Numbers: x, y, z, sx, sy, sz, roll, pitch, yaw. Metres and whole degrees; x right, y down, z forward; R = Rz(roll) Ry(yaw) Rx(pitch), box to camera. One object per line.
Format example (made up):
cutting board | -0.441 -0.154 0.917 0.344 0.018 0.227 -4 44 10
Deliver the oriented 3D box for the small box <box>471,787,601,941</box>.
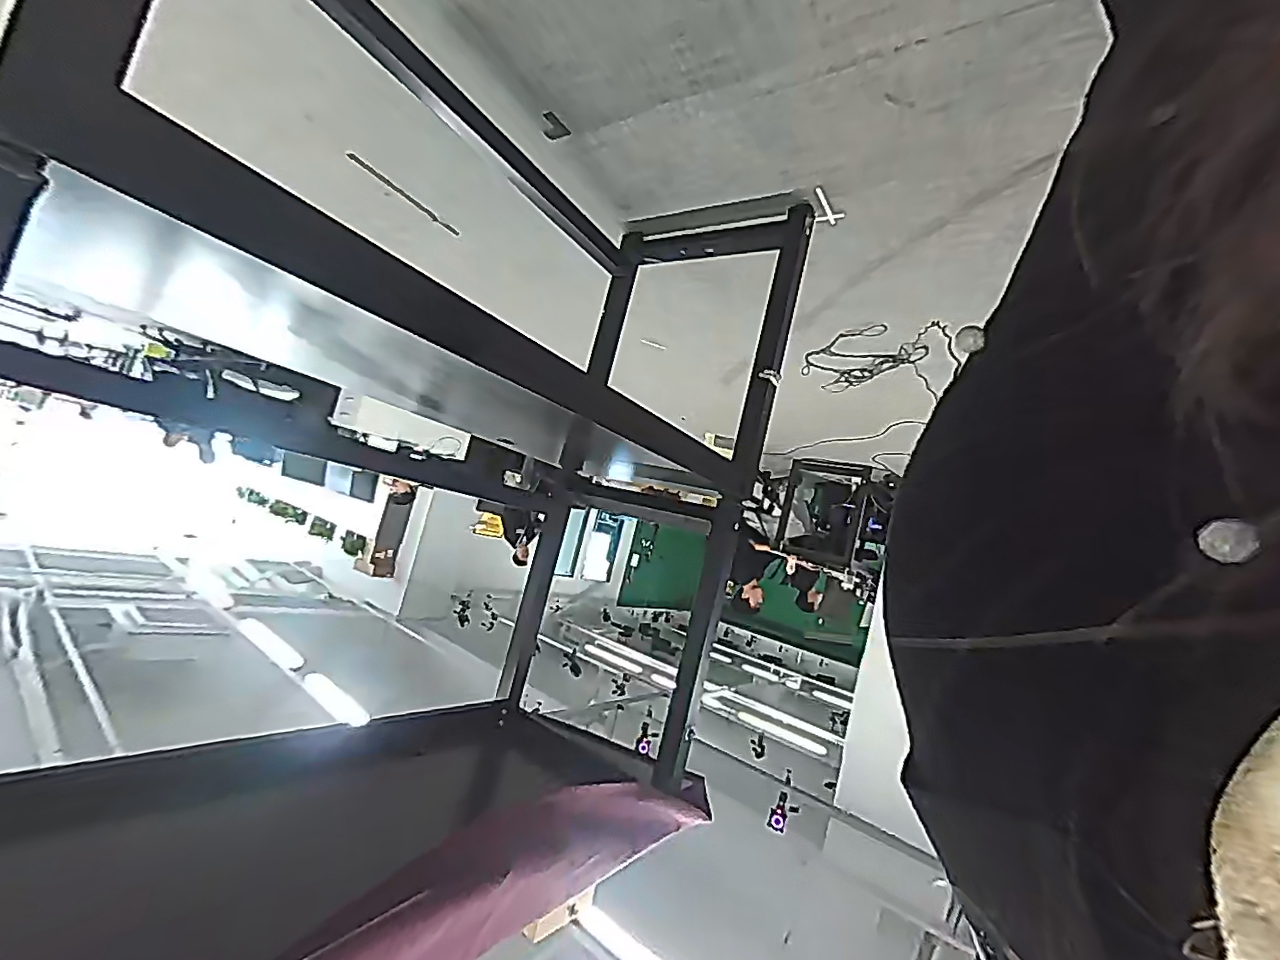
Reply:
small box | -0.204 0.757 1.095 0.179 0.176 0.168 11 174 37
